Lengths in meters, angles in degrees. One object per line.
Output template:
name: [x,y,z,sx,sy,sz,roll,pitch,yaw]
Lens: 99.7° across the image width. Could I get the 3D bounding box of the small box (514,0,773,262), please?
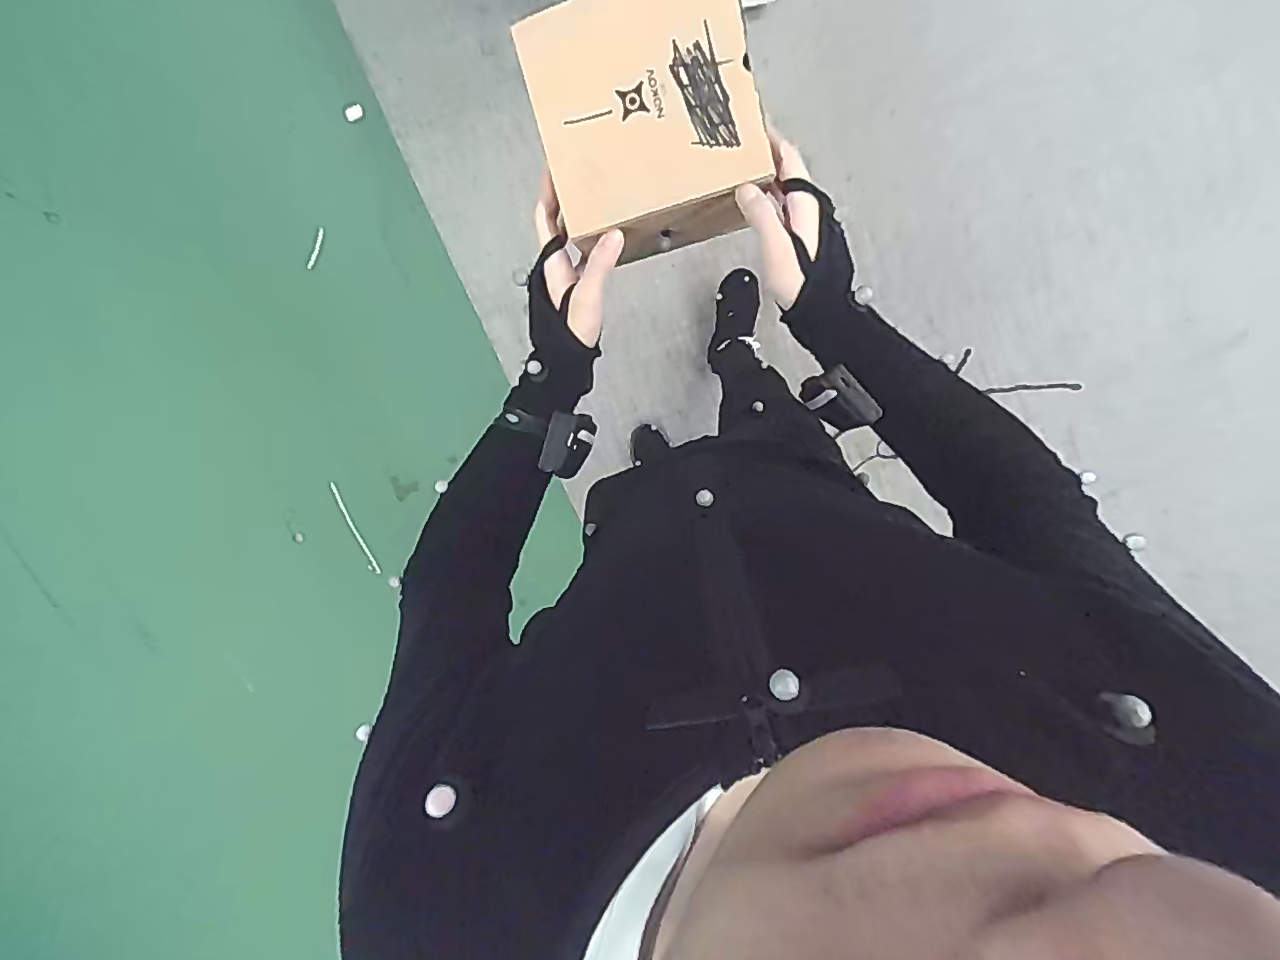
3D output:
small box: [0.010,-0.319,0.500,0.179,0.176,0.168,-13,100,9]
